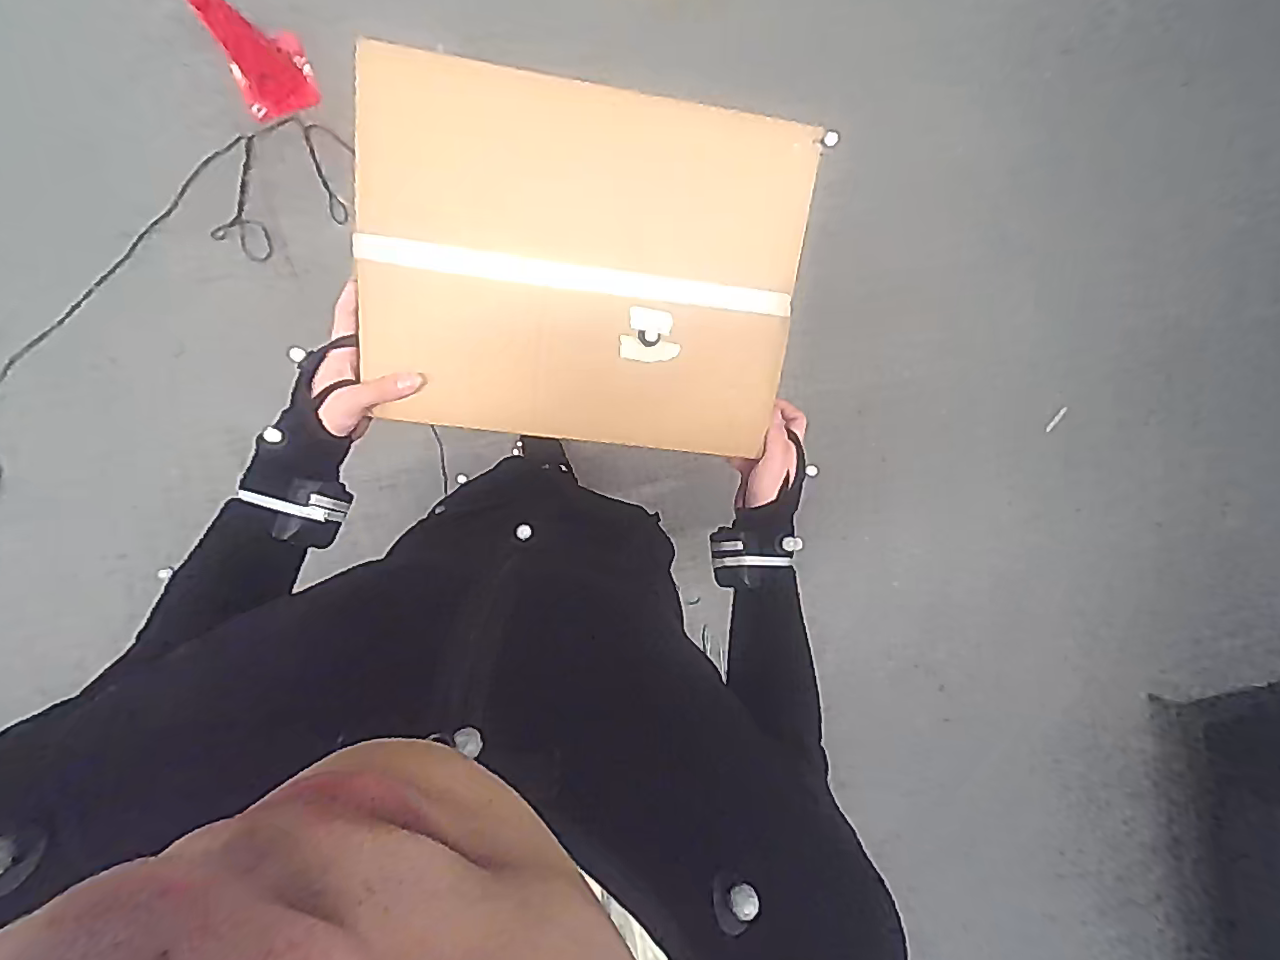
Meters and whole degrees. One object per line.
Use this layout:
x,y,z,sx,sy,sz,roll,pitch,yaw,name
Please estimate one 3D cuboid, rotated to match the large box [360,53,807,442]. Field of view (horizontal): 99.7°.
-0.071,-0.239,0.657,0.408,0.320,0.320,5,106,-8,large box
